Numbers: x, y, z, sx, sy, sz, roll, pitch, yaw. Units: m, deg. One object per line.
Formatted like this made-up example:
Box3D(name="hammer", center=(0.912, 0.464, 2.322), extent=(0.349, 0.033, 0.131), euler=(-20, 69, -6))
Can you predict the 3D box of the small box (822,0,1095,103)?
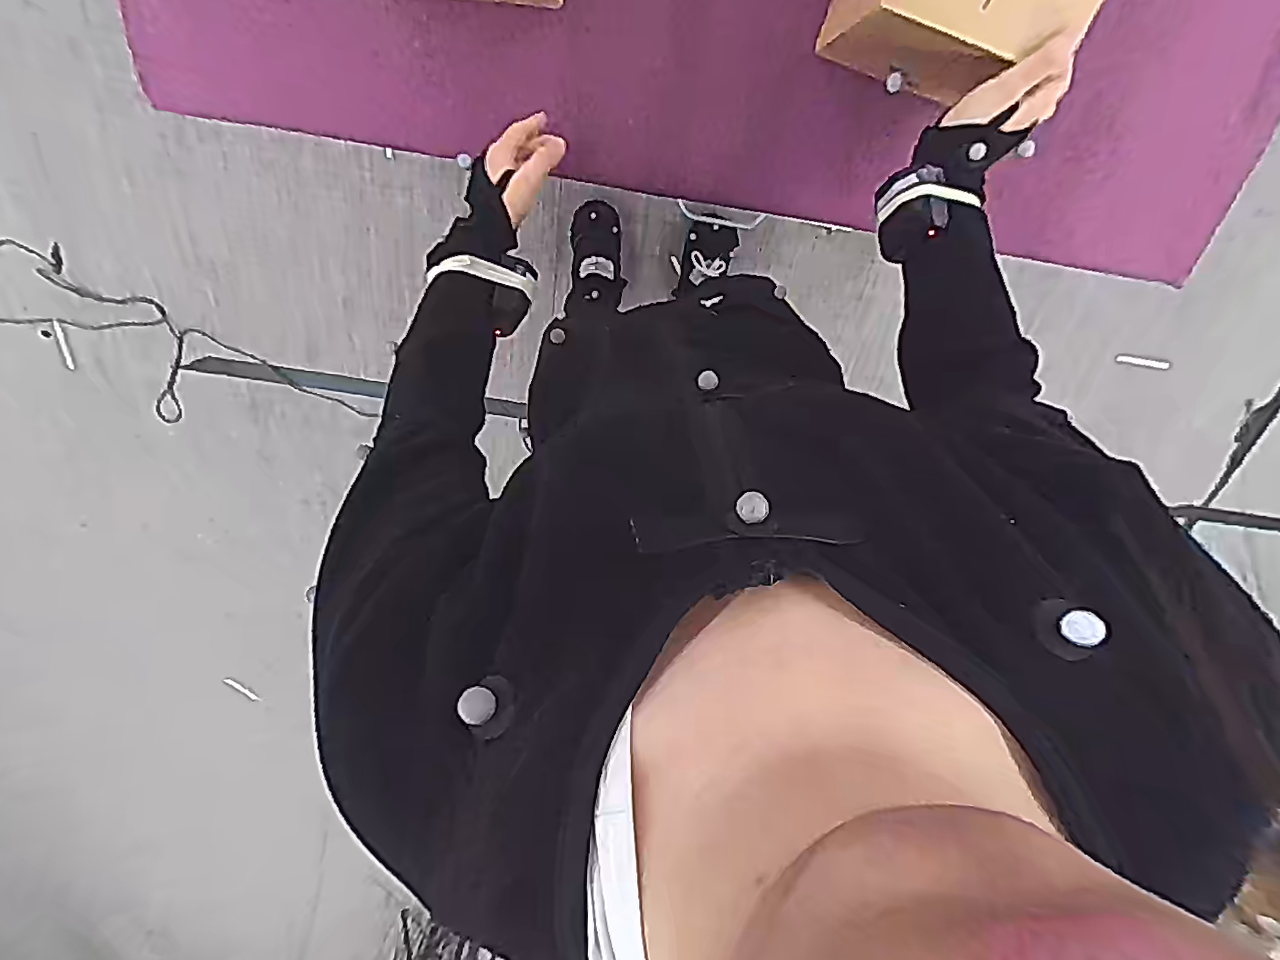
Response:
Box3D(name="small box", center=(0.280, -0.455, 0.459), extent=(0.168, 0.176, 0.179), euler=(15, 118, -9))
